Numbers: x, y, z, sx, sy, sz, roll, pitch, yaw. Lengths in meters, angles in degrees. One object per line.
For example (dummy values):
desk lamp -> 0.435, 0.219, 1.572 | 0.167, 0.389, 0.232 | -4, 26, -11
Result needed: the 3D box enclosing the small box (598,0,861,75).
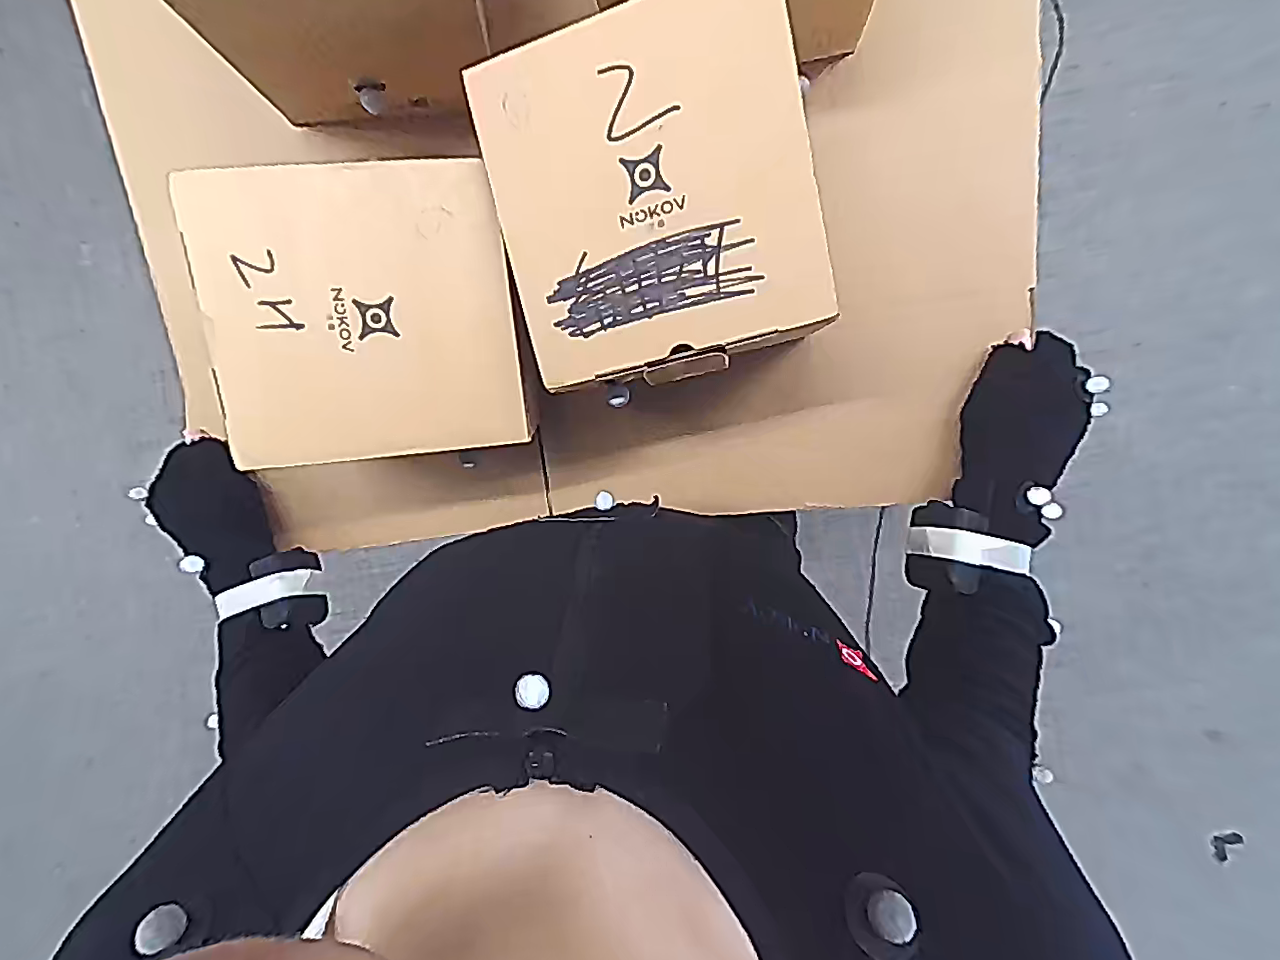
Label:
small box -> 0.051, -0.373, 0.311 | 0.168, 0.176, 0.179 | -3, 100, 12
